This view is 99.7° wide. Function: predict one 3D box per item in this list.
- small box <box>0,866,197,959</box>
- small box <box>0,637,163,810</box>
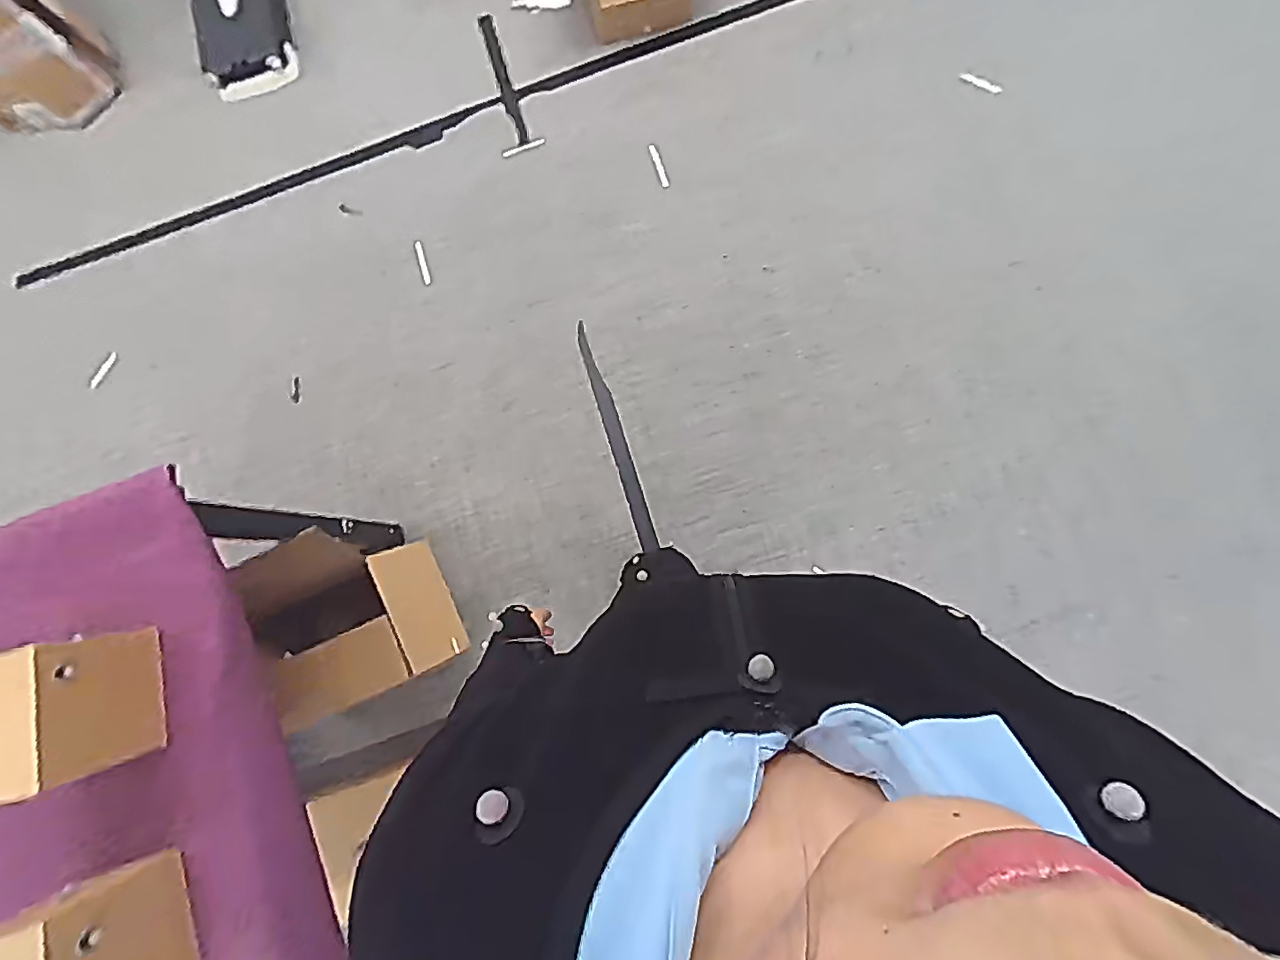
[{"bbox_3d":[-0.708,0.626,0.677,0.168,0.176,0.179,-22,80,3],"label":"small box"},{"bbox_3d":[-0.798,0.325,0.732,0.168,0.176,0.179,-14,80,2],"label":"small box"}]
